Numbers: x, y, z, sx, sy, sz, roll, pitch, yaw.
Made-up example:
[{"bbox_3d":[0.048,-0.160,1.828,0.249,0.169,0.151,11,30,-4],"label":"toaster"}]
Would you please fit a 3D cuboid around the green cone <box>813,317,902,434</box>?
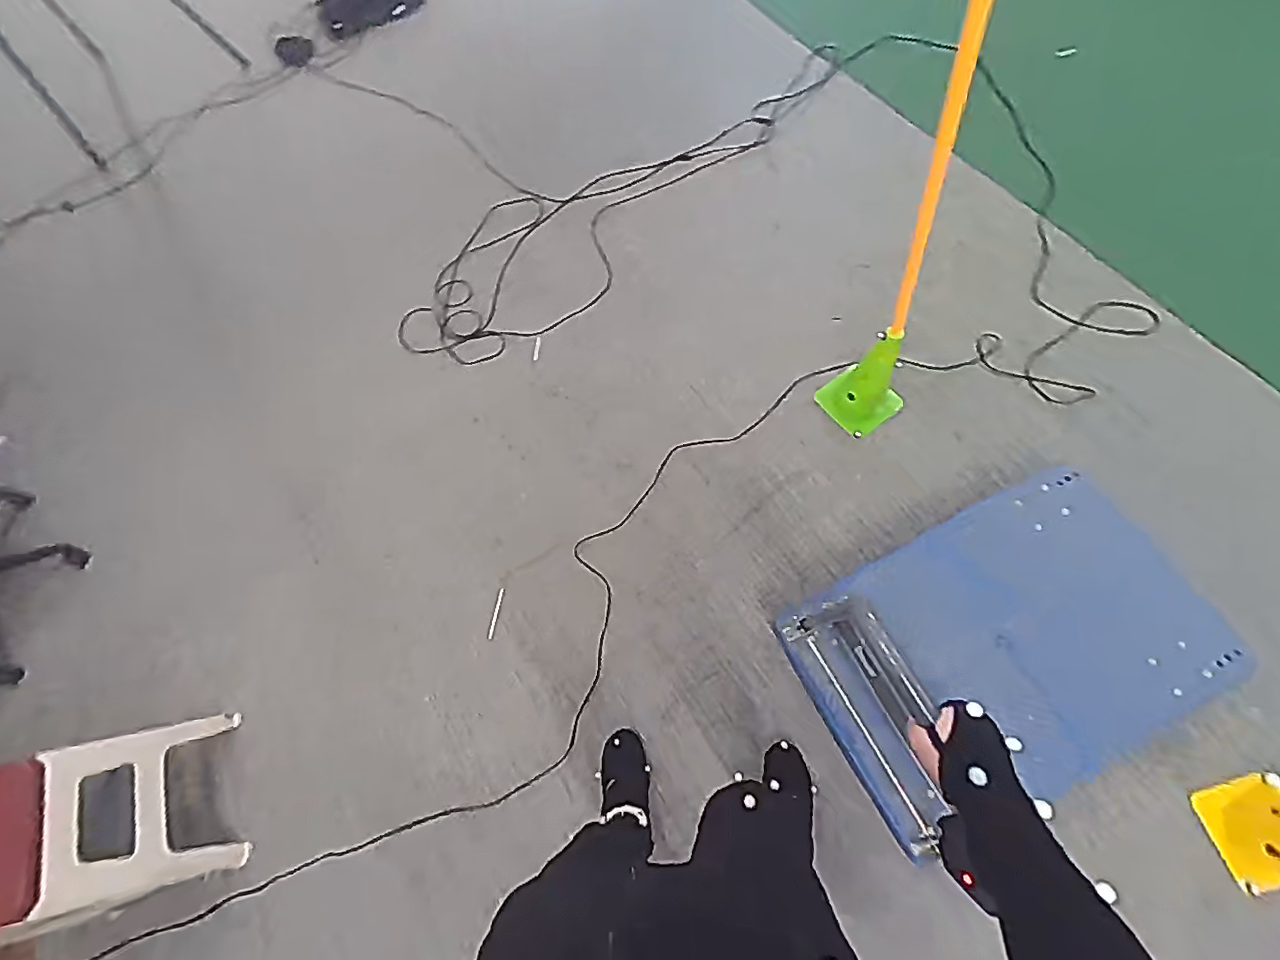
[{"bbox_3d":[0.641,-0.318,1.490,0.200,0.368,0.202,-37,69,-8],"label":"green cone"}]
